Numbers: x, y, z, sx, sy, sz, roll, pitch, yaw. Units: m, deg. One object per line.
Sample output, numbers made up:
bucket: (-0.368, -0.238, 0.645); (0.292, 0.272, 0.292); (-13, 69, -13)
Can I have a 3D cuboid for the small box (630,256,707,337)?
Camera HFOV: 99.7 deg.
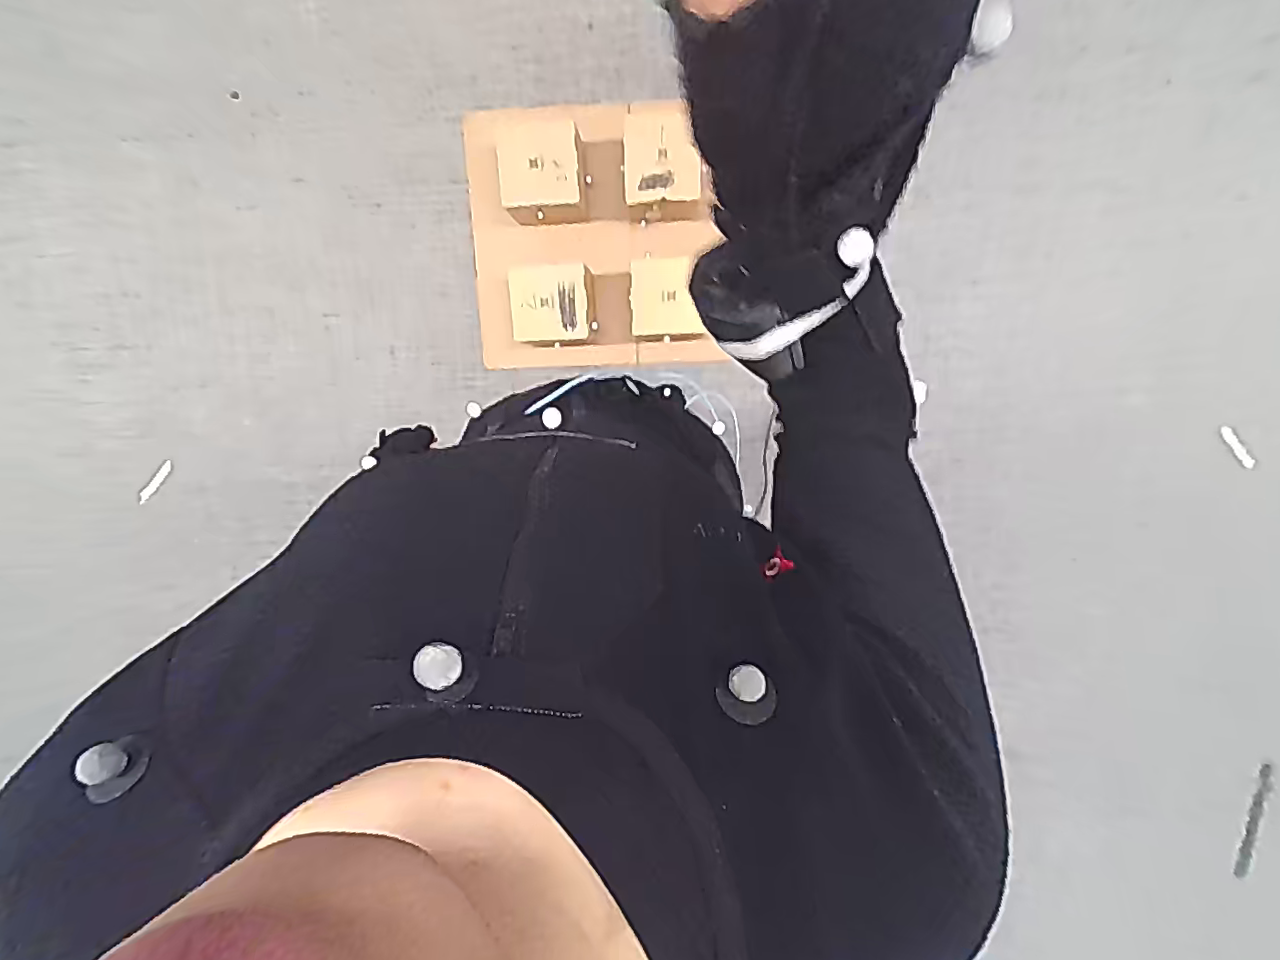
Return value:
small box: (0.069, -0.435, 1.295); (0.179, 0.176, 0.168); (0, 101, 5)
